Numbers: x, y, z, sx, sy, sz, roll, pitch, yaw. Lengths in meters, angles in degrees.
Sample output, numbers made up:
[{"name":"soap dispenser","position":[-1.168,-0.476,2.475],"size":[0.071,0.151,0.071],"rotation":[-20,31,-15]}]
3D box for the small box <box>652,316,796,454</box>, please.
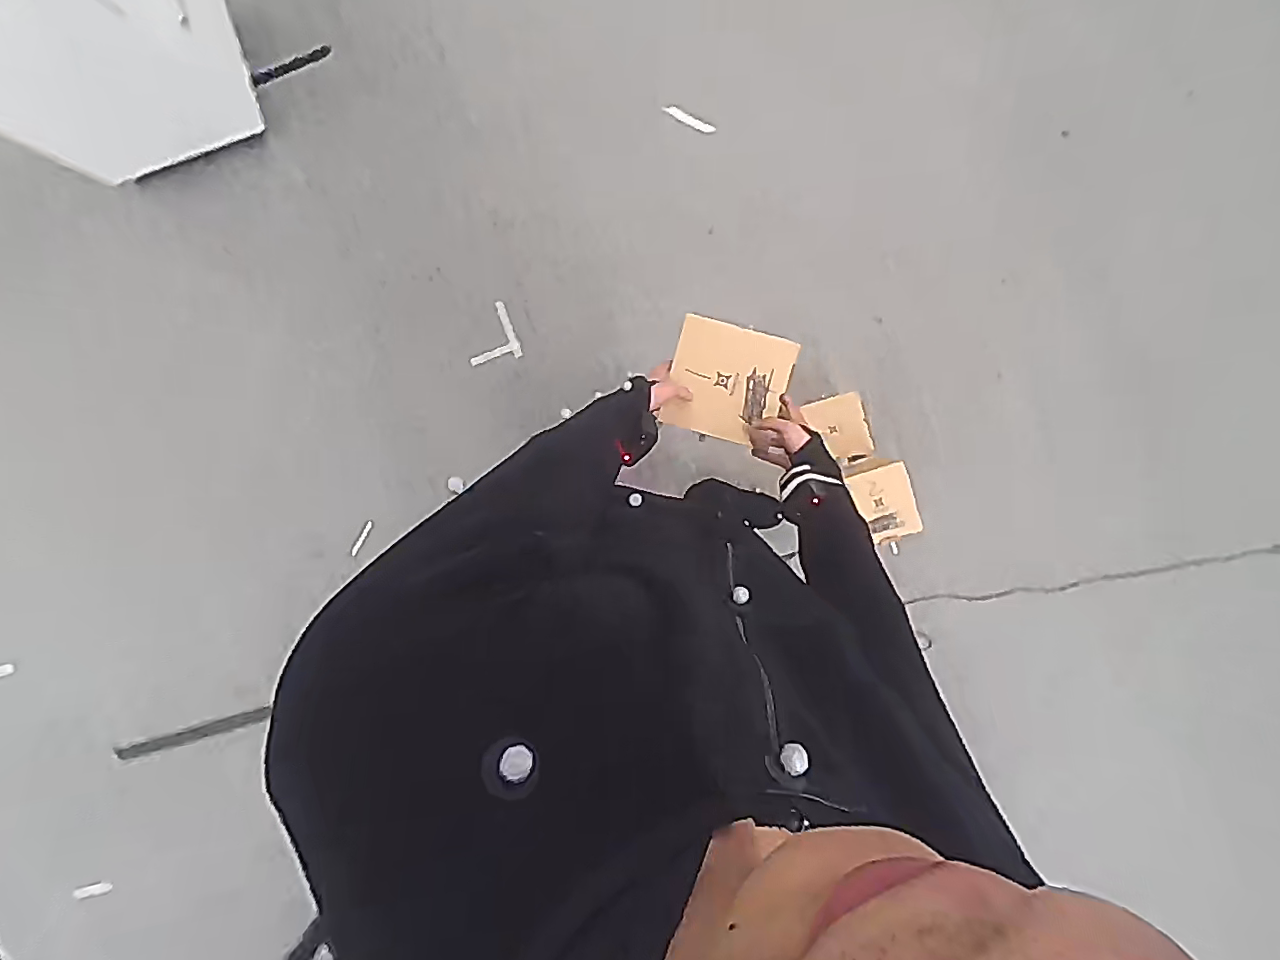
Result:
[{"name":"small box","position":[0.127,-0.151,0.870],"size":[0.179,0.176,0.168],"rotation":[16,99,2]}]
